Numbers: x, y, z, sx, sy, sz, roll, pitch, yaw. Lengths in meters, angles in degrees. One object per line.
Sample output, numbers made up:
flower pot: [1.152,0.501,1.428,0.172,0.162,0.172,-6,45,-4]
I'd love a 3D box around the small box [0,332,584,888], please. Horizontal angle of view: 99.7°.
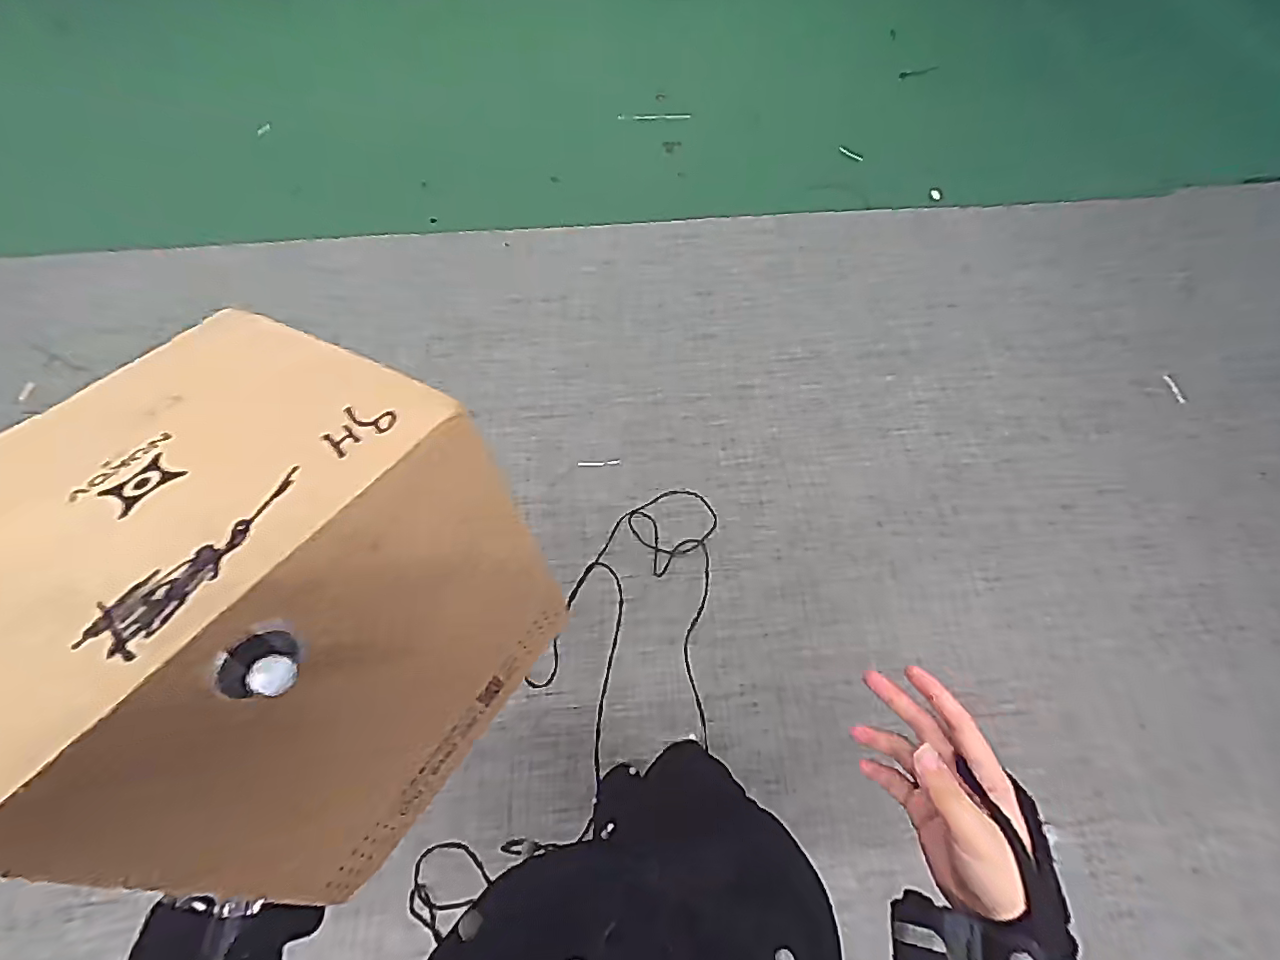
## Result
small box: [-0.154,0.059,0.261,0.179,0.176,0.168,22,58,27]
